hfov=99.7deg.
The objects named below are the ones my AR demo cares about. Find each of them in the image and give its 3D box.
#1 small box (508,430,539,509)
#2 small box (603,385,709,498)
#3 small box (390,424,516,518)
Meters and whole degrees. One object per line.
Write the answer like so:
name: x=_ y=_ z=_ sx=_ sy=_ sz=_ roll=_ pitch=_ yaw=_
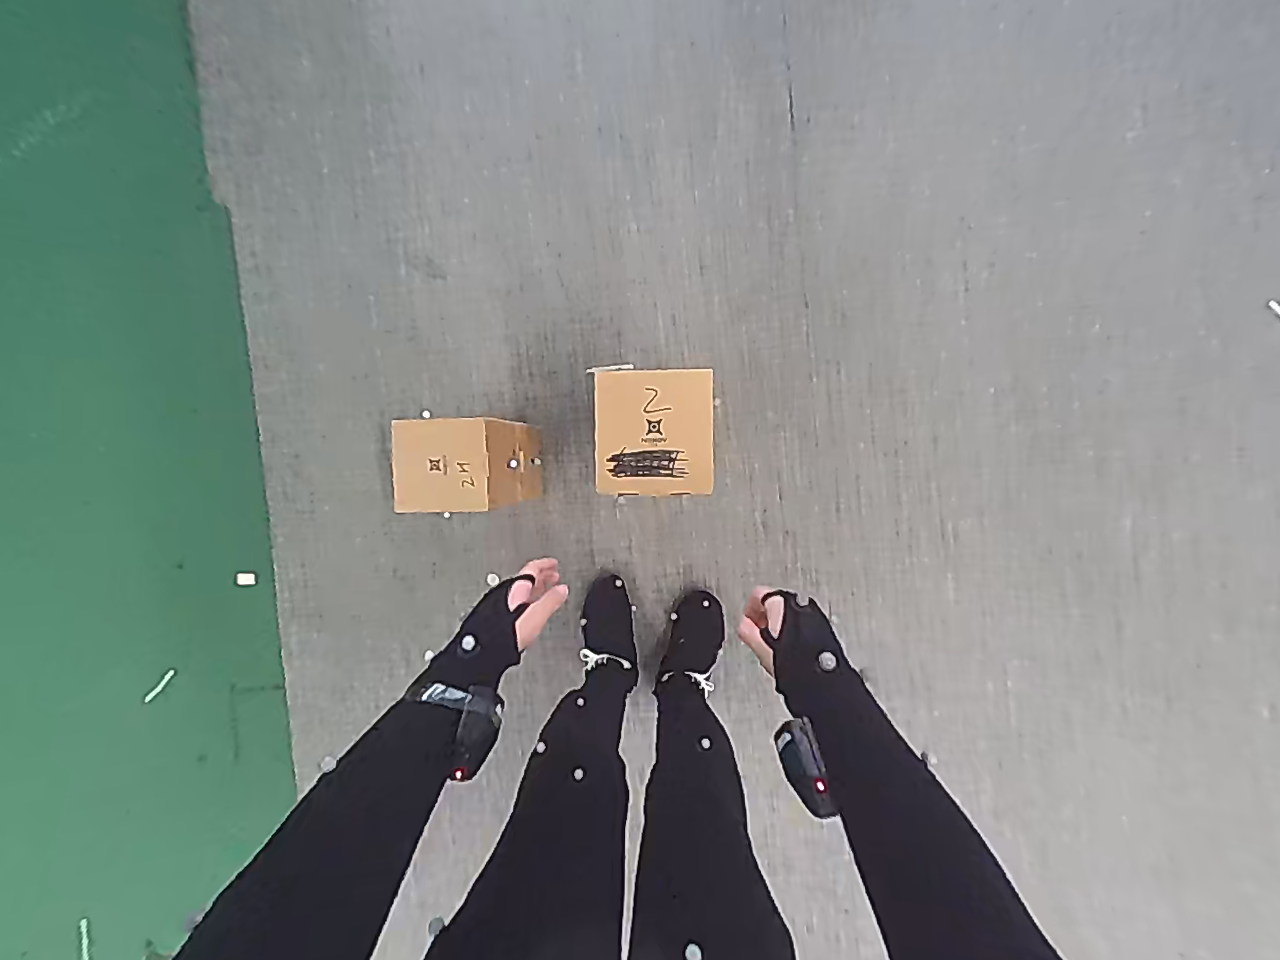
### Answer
small box: x=-0.324 y=-0.024 z=1.187 sx=0.179 sy=0.176 sz=0.168 roll=-2 pitch=92 yaw=4
small box: x=0.036 y=-0.068 z=0.990 sx=0.168 sy=0.176 sz=0.179 roll=-8 pitch=91 yaw=5
small box: x=-0.346 y=-0.017 z=1.023 sx=0.179 sy=0.176 sz=0.168 roll=-1 pitch=92 yaw=4
